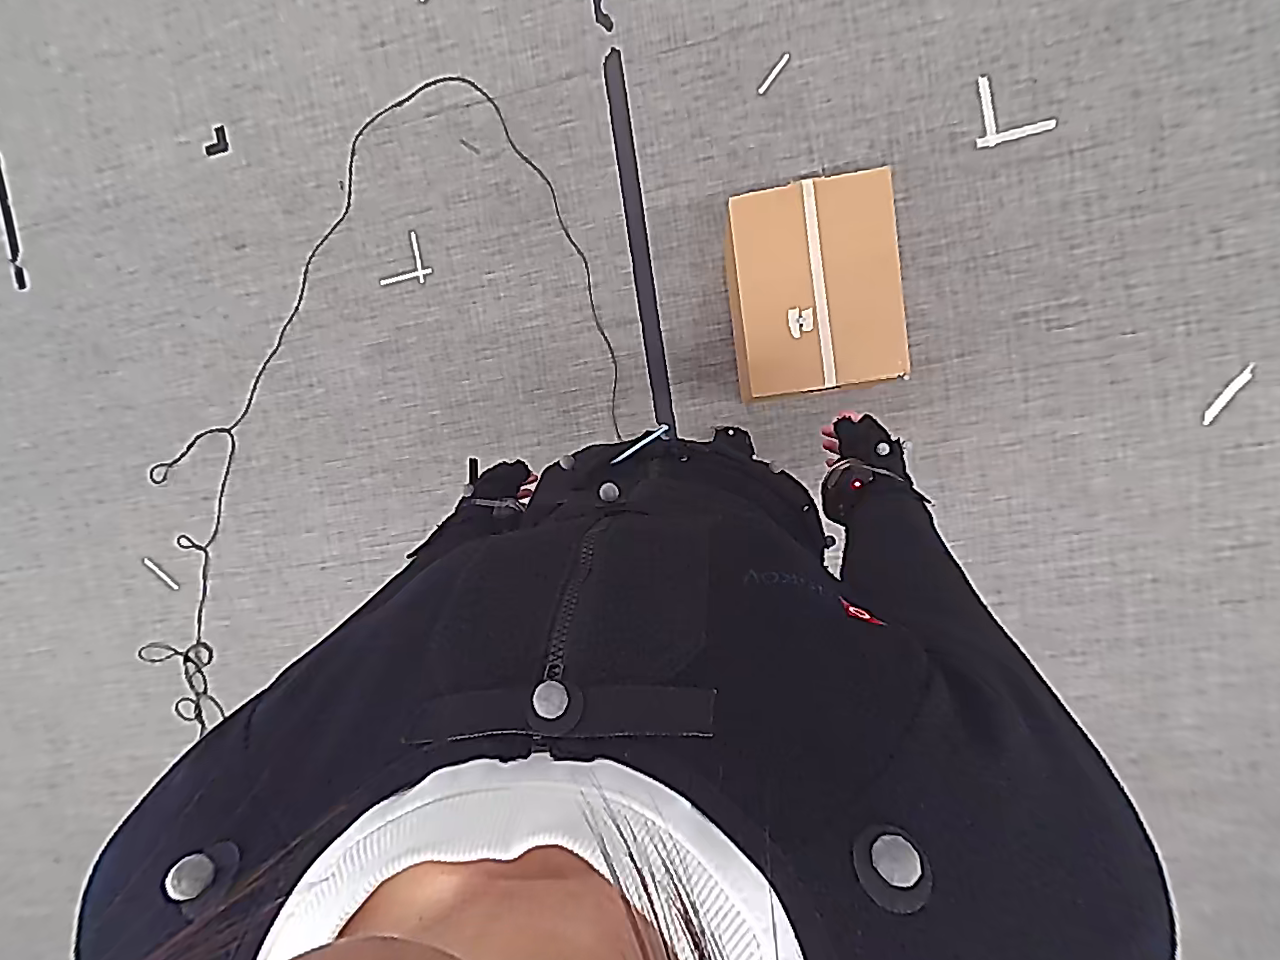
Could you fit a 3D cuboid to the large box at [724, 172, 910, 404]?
[{"bbox_3d":[0.376,-0.399,1.229,0.320,0.320,0.408,-8,95,9],"label":"large box"}]
